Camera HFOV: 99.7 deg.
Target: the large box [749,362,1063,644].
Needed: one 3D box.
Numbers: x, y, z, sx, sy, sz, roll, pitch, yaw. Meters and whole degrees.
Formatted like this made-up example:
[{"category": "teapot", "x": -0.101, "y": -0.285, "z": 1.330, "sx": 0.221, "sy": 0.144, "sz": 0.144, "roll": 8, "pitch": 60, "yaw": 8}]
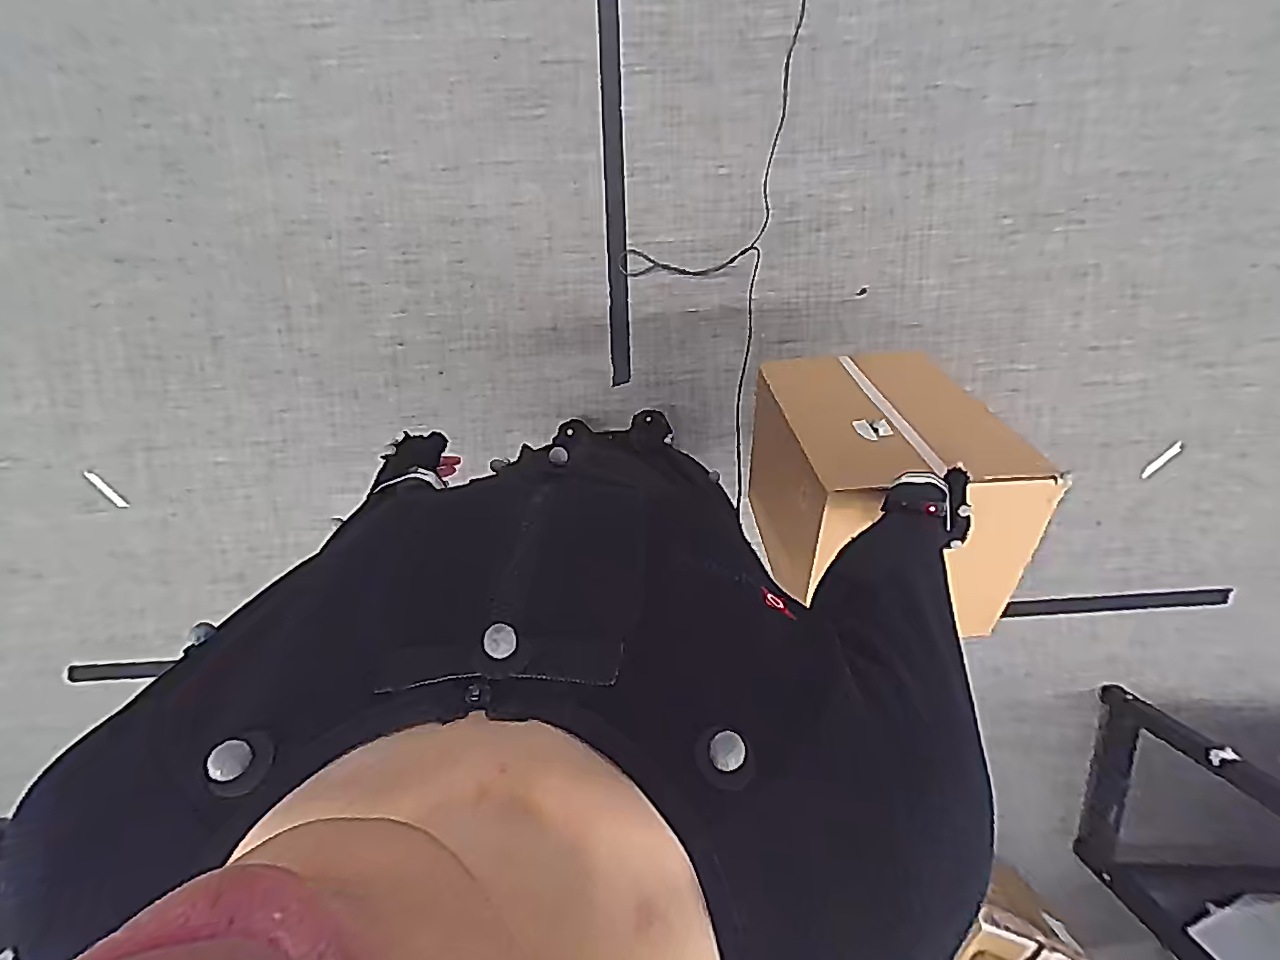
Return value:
[{"category": "large box", "x": 0.396, "y": 0.022, "z": 0.951, "sx": 0.320, "sy": 0.408, "sz": 0.320, "roll": -4, "pitch": 127, "yaw": -1}]
